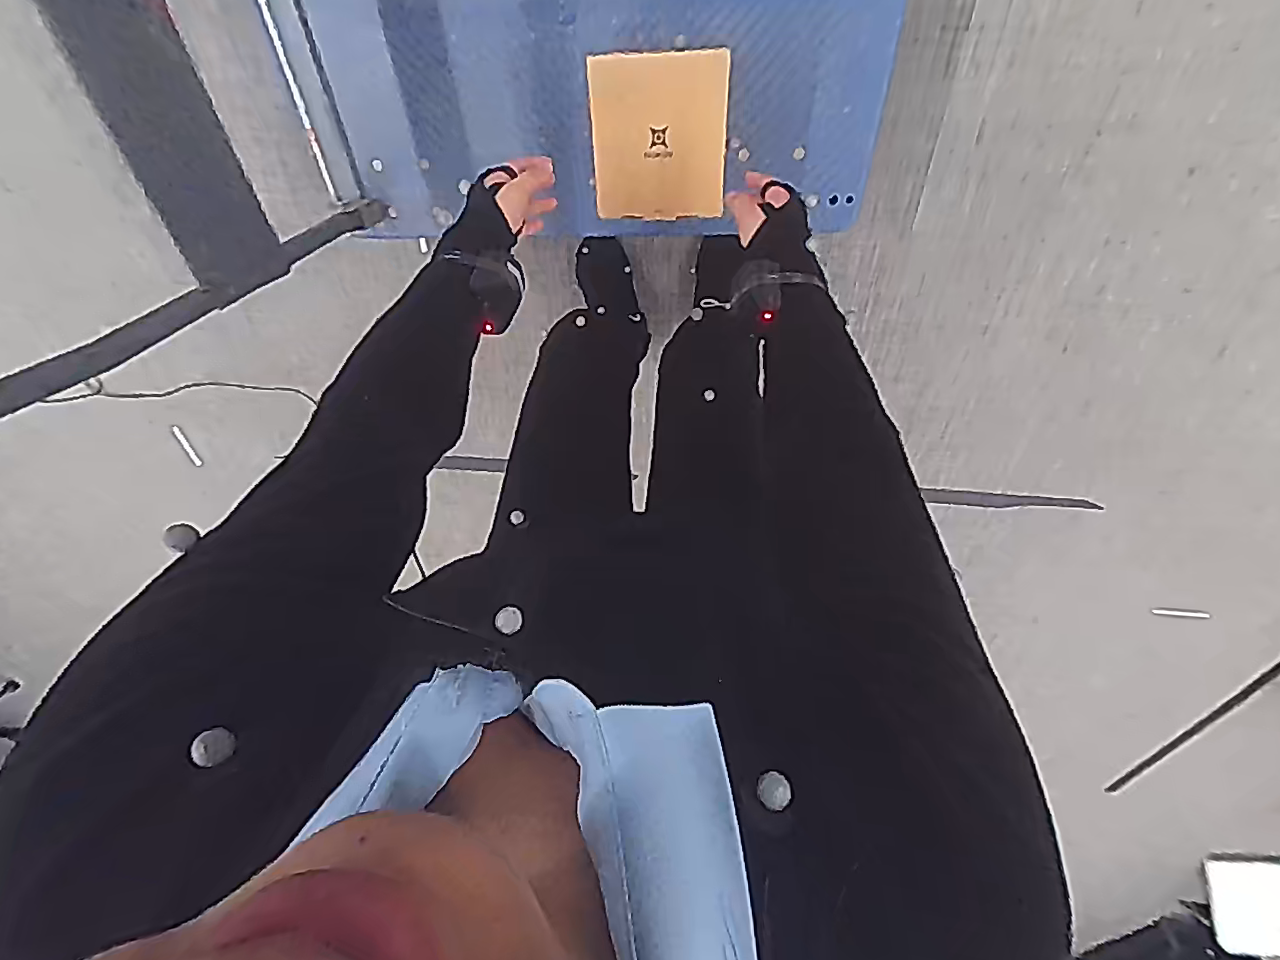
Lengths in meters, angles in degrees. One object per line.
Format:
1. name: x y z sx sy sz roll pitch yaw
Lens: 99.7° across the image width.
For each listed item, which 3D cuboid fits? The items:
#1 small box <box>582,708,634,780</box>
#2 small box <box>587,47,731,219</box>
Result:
1. small box: -0.115 0.953 1.954 0.168 0.176 0.179 6 130 1
2. small box: 0.029 -0.463 0.720 0.168 0.176 0.179 2 130 6
